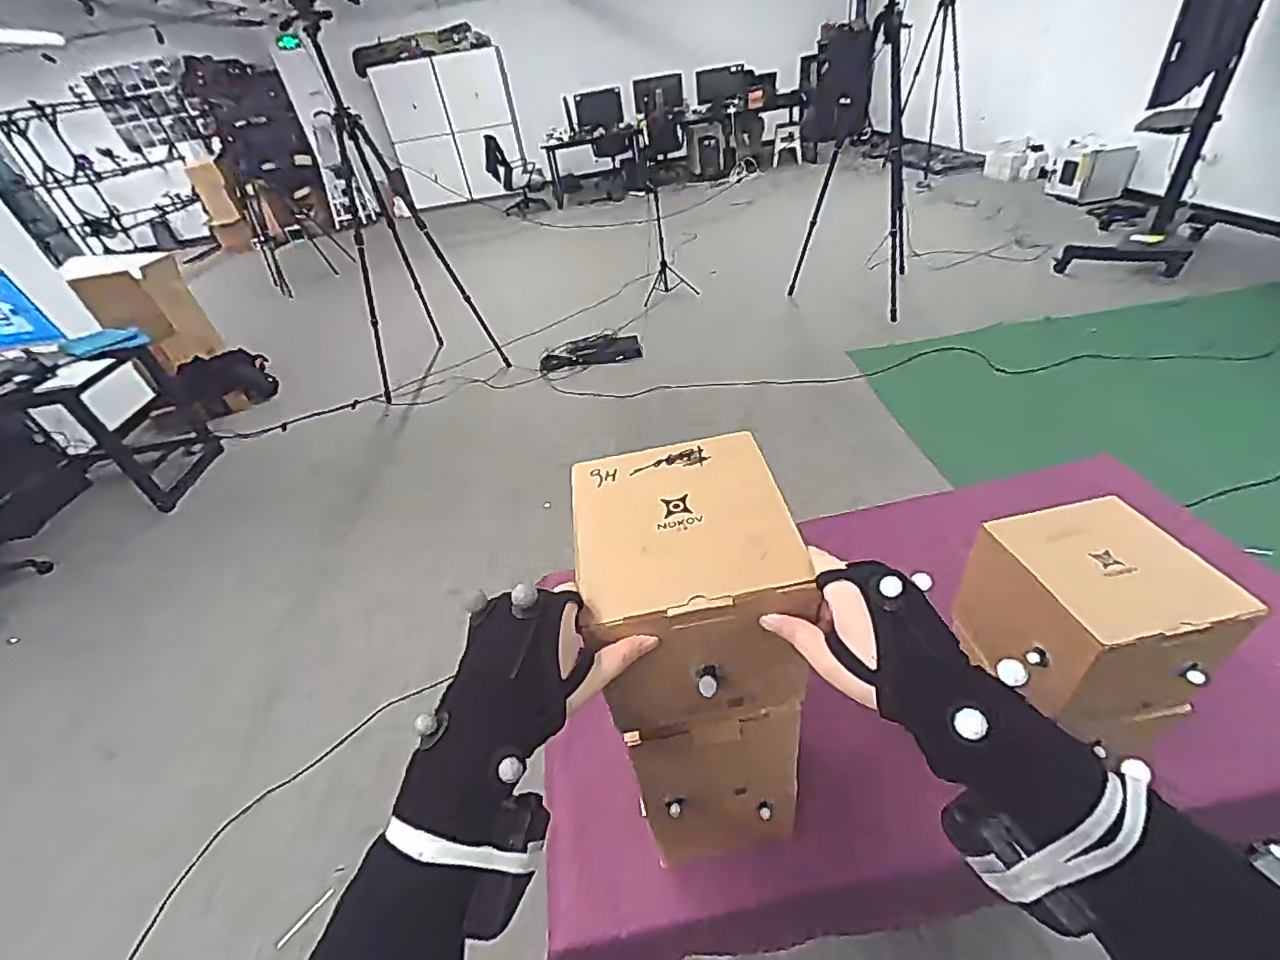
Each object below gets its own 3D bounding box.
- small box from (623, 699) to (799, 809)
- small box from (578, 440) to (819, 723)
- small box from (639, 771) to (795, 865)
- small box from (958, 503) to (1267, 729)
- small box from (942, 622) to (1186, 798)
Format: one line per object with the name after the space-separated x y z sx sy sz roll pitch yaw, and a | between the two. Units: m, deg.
0.068 0.239 0.604 0.168 0.176 0.179 -10 36 -2 | small box
0.045 0.094 0.477 0.168 0.176 0.179 -10 42 0 | small box
0.090 0.369 0.703 0.179 0.176 0.168 -10 38 -2 | small box
0.499 0.156 0.610 0.168 0.176 0.179 -11 37 -2 | small box
0.523 0.287 0.705 0.179 0.176 0.168 -10 38 0 | small box
